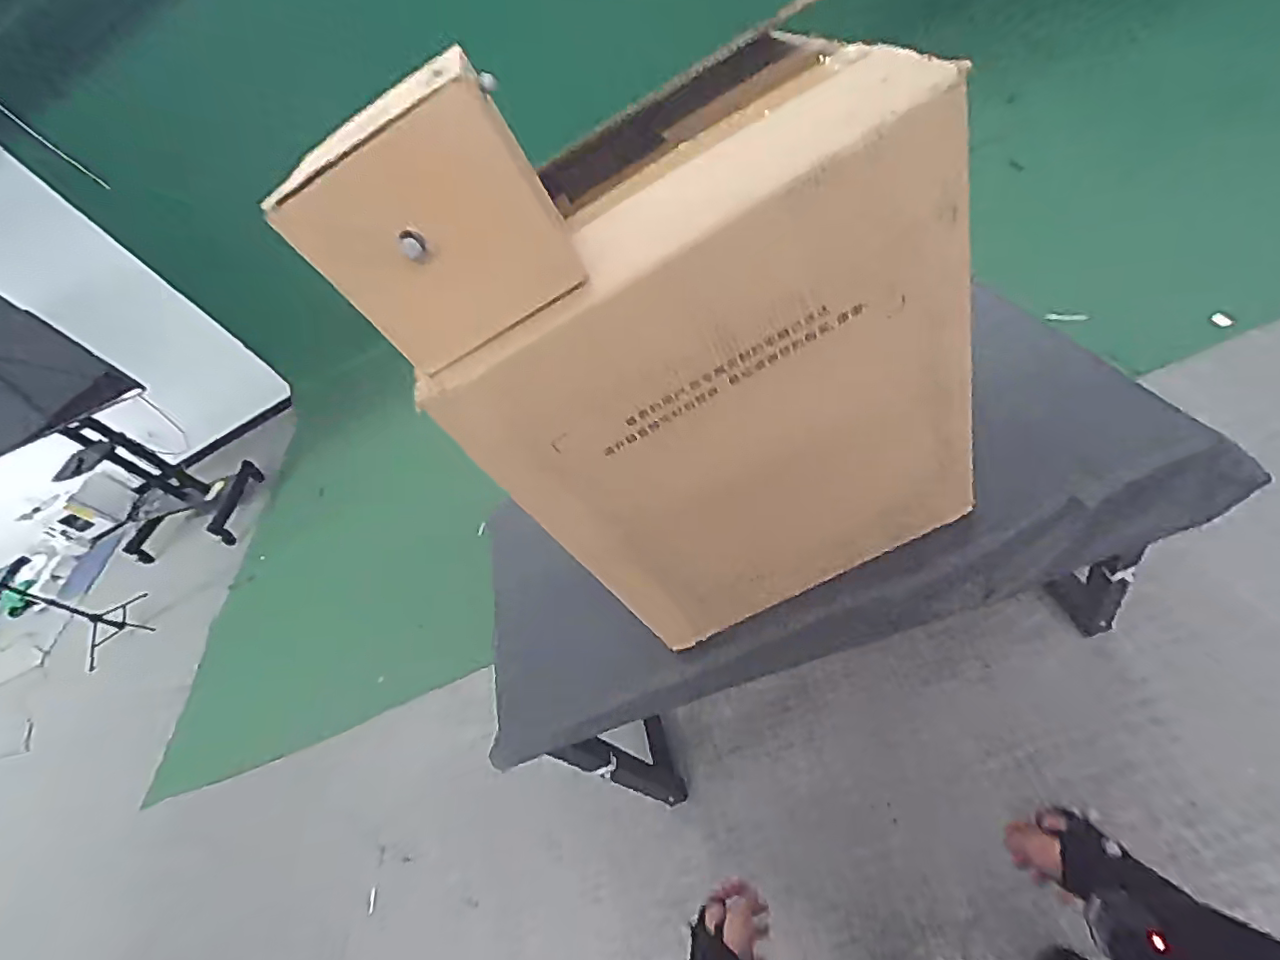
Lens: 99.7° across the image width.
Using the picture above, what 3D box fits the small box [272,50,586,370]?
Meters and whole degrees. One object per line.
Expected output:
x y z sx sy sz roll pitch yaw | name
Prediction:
-0.173 -0.232 0.485 0.179 0.176 0.168 -29 46 10 | small box
